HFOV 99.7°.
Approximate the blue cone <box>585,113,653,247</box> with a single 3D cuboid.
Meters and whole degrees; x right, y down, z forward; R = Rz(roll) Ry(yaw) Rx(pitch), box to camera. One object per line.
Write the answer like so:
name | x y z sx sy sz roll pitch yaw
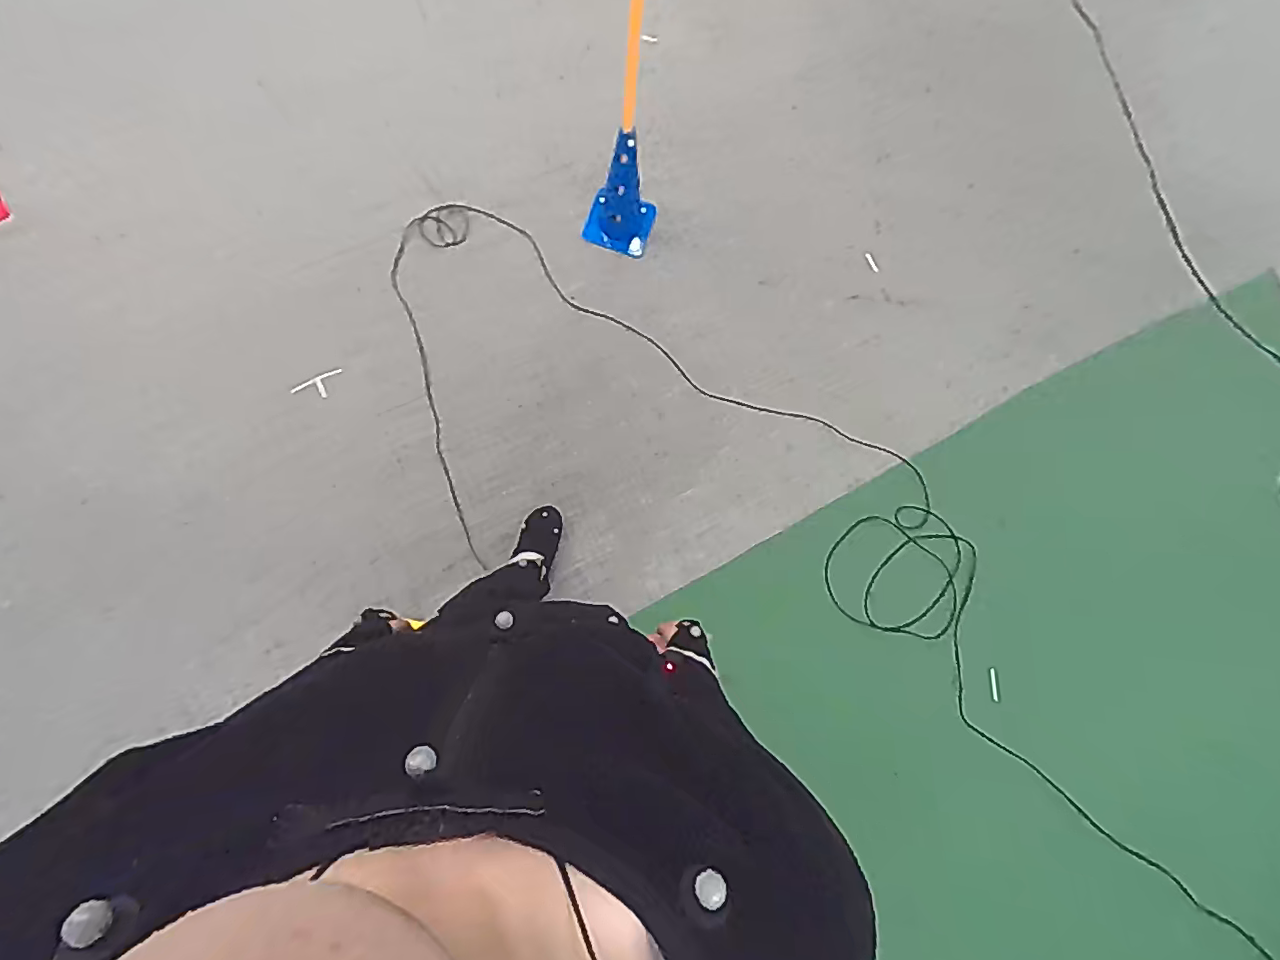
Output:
blue cone | -0.048 -0.856 1.516 0.192 0.380 0.193 17 77 -2
